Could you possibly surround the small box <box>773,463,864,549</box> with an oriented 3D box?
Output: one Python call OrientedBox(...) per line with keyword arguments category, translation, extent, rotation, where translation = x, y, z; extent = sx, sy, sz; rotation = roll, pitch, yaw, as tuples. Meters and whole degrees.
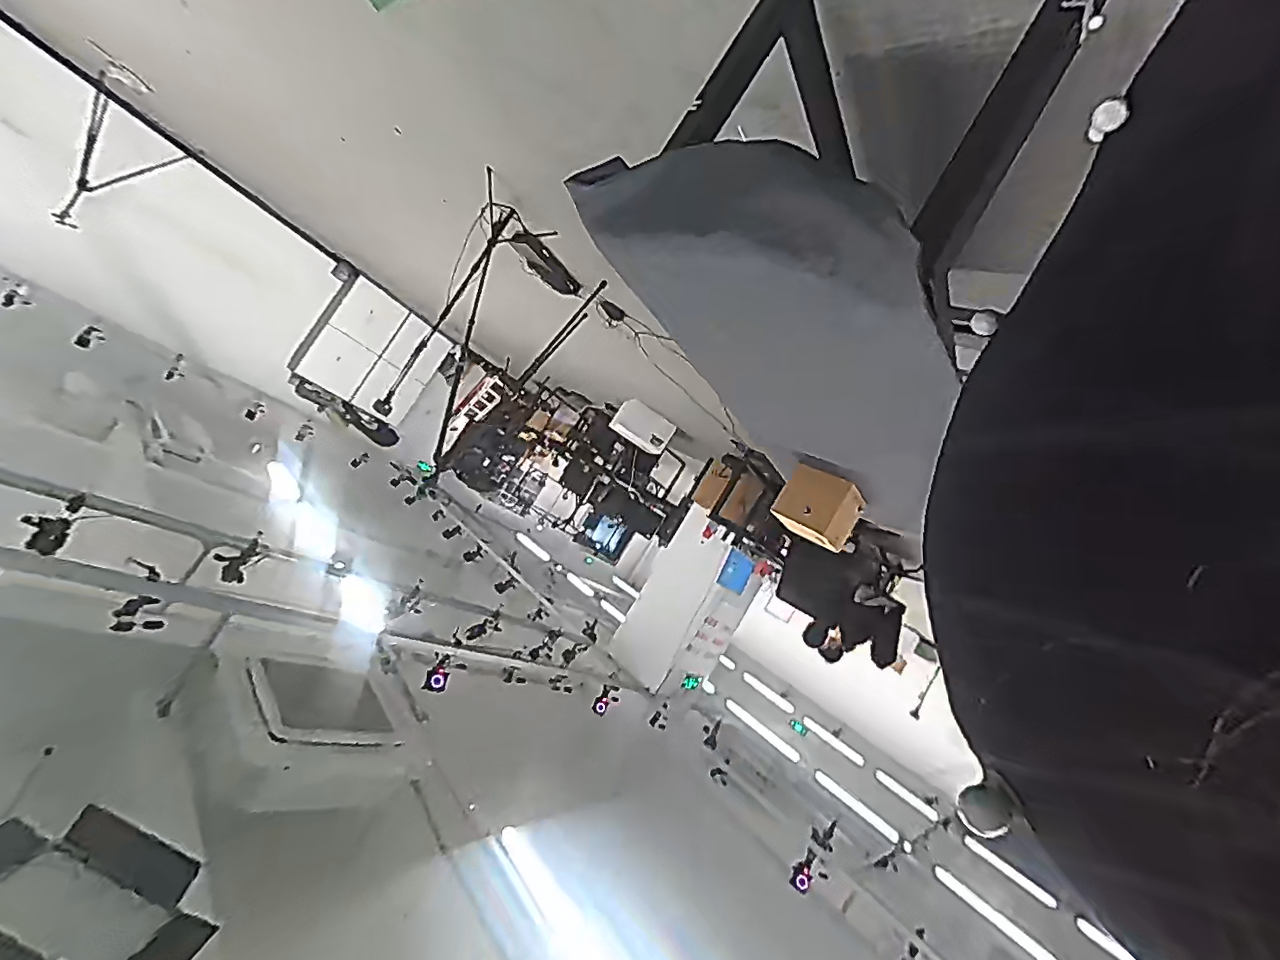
OrientedBox(category="small box", translation=(0.522, 0.071, 1.559), extent=(0.179, 0.176, 0.168), rotation=(28, 174, 42))
